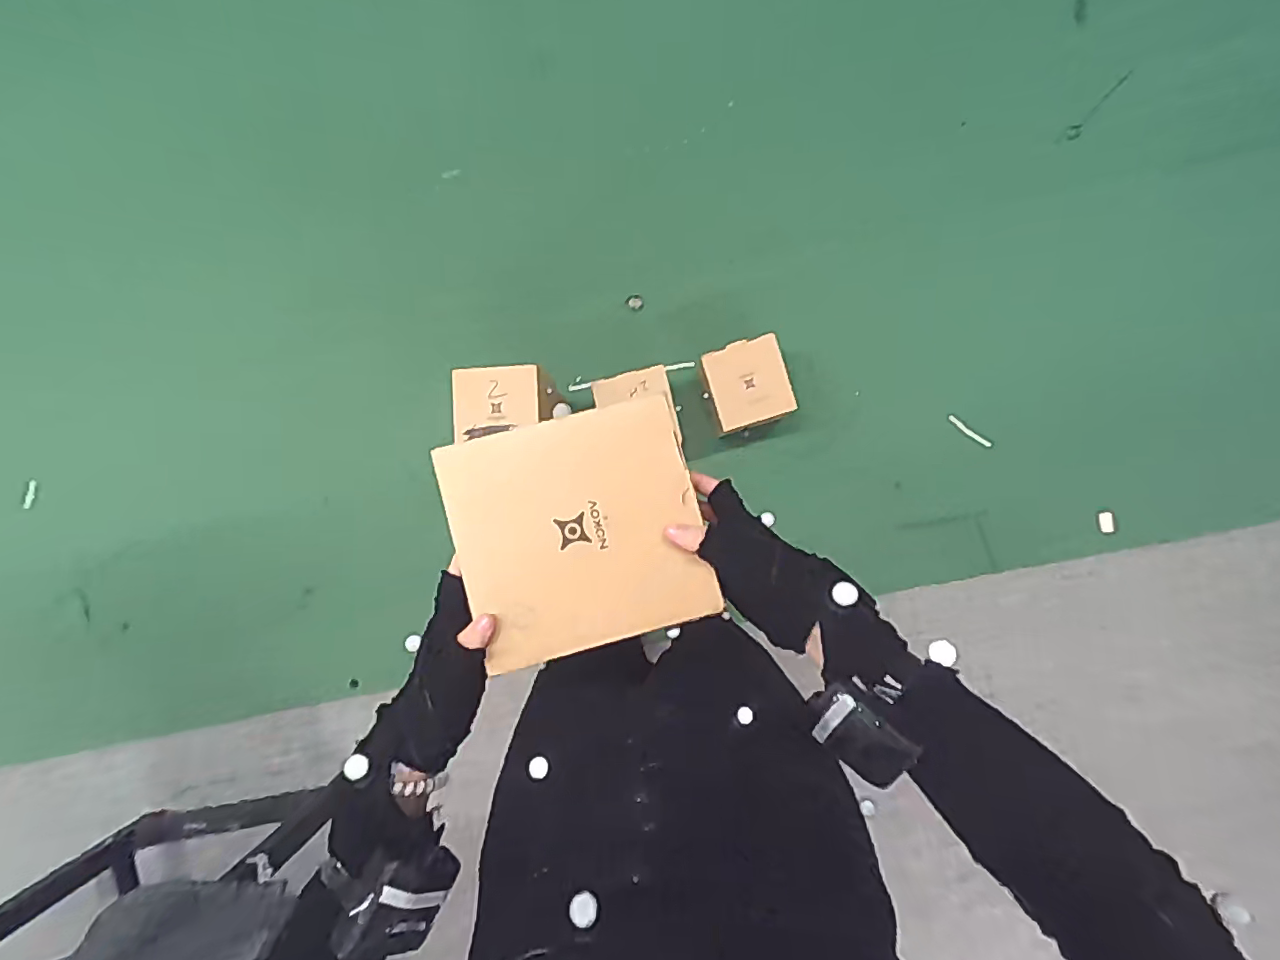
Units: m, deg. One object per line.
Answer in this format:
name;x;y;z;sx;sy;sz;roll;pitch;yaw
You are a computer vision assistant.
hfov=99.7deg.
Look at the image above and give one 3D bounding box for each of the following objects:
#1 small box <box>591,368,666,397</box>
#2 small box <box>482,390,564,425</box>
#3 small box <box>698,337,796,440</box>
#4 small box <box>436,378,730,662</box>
small box;-0.005;-0.140;1.245;0.168;0.176;0.179;-13;87;2
small box;-0.261;-0.107;1.258;0.168;0.176;0.179;-1;90;4
small box;0.235;-0.201;1.236;0.168;0.176;0.179;-16;88;3
small box;-0.044;0.034;0.456;0.179;0.176;0.168;-16;85;-5
